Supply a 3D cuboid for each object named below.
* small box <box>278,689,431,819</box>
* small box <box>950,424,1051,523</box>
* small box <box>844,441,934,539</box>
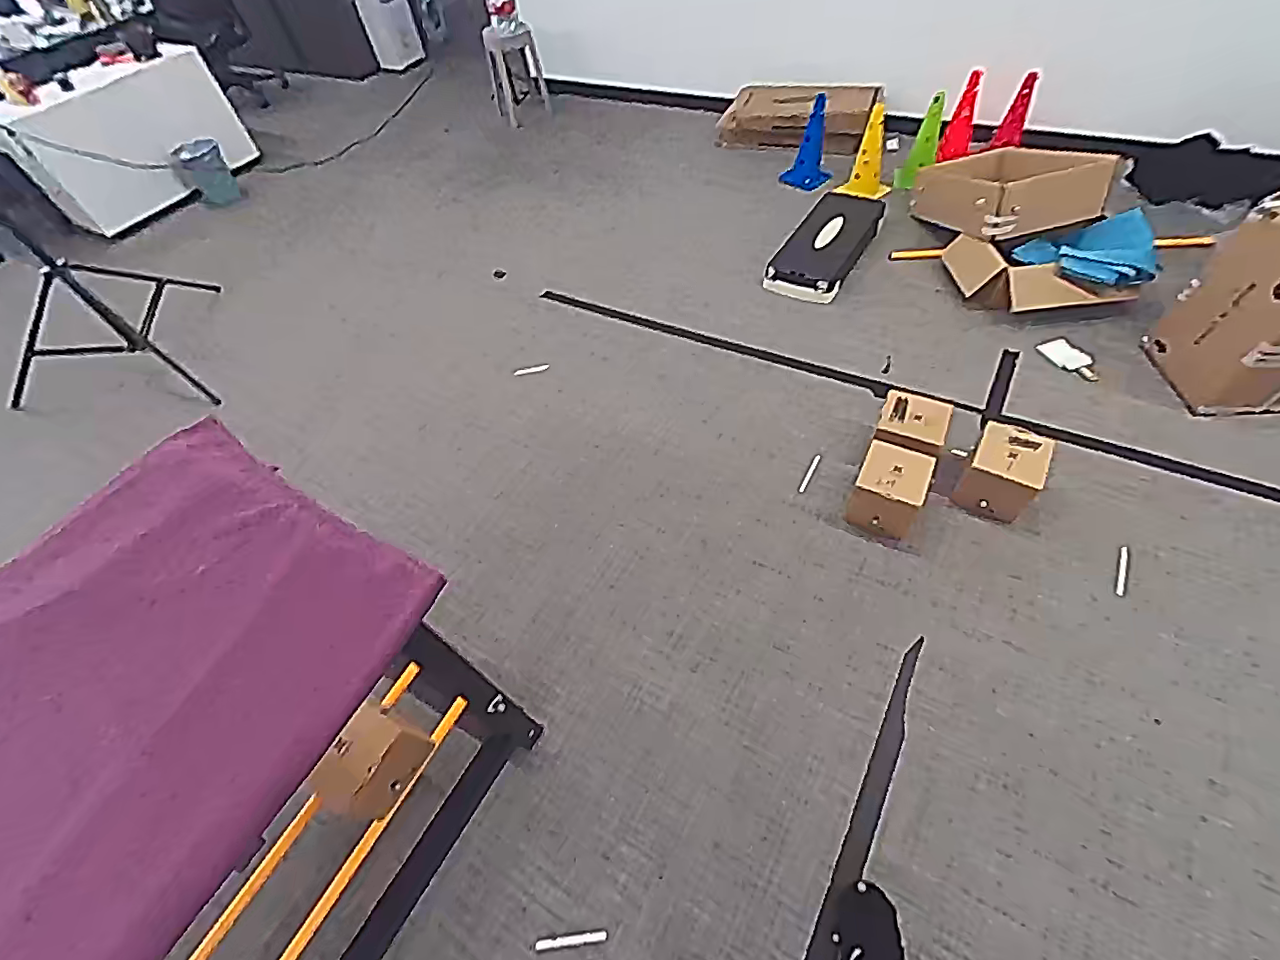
[{"bbox_3d":[-0.565,0.558,1.092,0.179,0.176,0.168,22,60,20],"label":"small box"},{"bbox_3d":[0.979,-0.016,1.480,0.168,0.176,0.179,25,61,22],"label":"small box"},{"bbox_3d":[0.674,0.030,1.479,0.168,0.176,0.179,21,59,21],"label":"small box"}]
